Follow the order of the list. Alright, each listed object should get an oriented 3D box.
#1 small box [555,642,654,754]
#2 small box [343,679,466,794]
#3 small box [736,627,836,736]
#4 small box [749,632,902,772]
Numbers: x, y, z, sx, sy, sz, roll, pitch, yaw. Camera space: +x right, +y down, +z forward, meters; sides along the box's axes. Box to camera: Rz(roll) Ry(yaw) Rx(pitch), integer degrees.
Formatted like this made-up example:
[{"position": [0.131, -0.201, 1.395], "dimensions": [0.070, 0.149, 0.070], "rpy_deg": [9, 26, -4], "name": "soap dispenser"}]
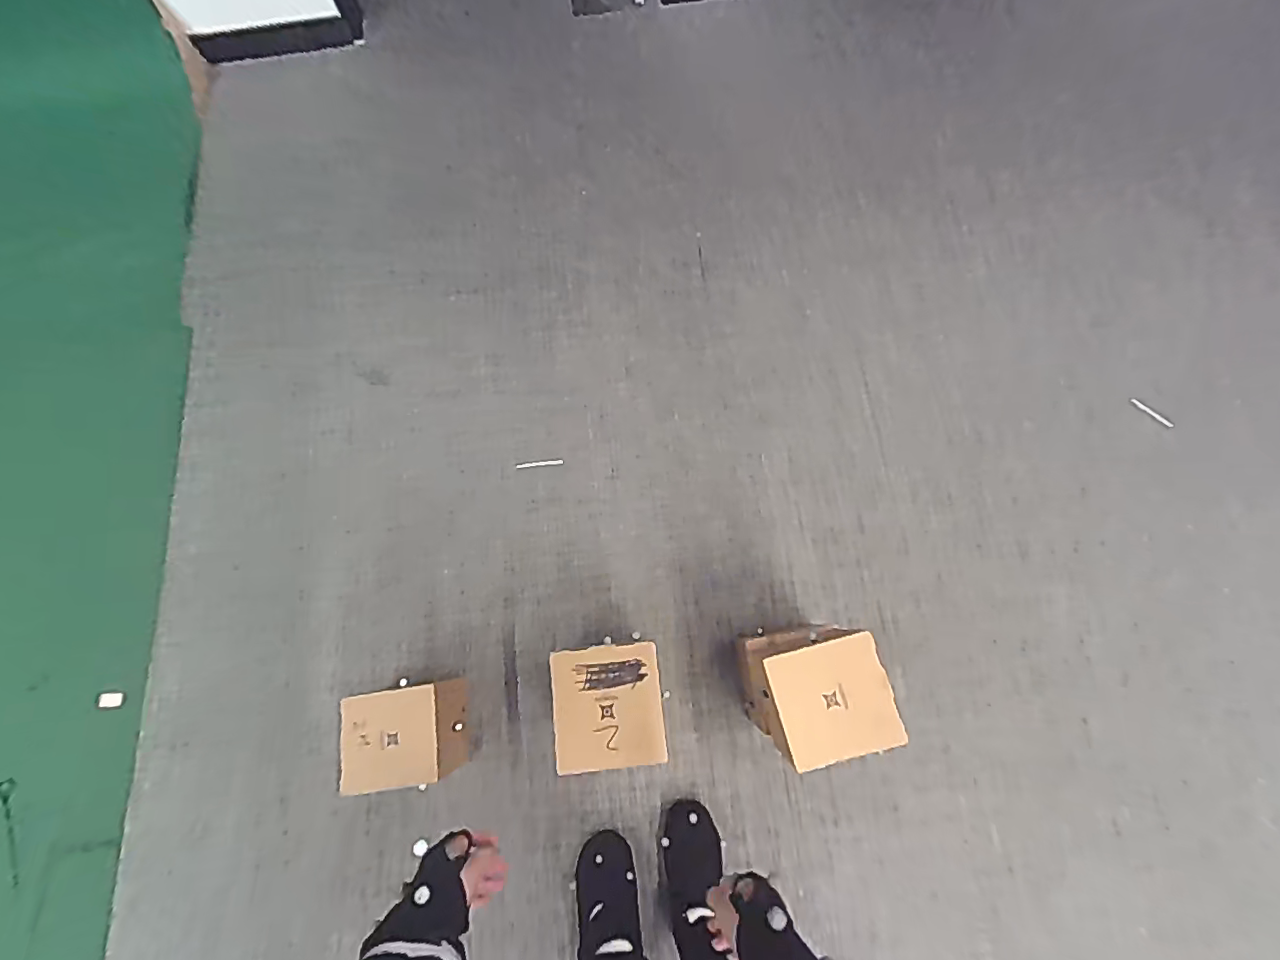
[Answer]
[{"position": [-0.064, 0.415, 1.054], "dimensions": [0.168, 0.176, 0.179], "rpy_deg": [-7, 73, 0], "name": "small box"}, {"position": [-0.446, 0.487, 1.052], "dimensions": [0.179, 0.176, 0.168], "rpy_deg": [-8, 73, 0], "name": "small box"}, {"position": [0.288, 0.382, 1.047], "dimensions": [0.179, 0.176, 0.168], "rpy_deg": [-10, 75, 0], "name": "small box"}, {"position": [0.286, 0.353, 0.887], "dimensions": [0.179, 0.176, 0.168], "rpy_deg": [-15, 75, -2], "name": "small box"}]
